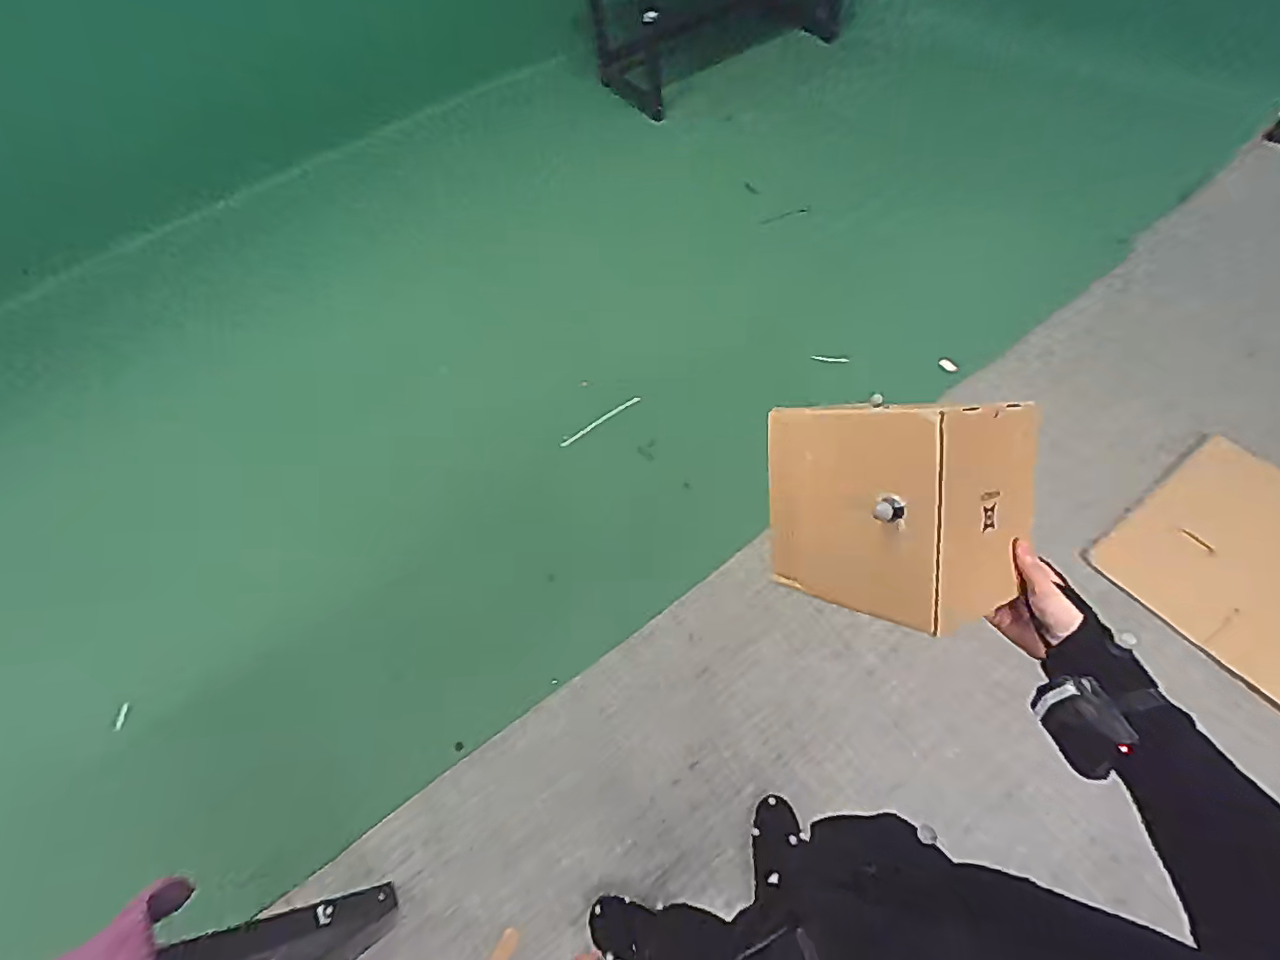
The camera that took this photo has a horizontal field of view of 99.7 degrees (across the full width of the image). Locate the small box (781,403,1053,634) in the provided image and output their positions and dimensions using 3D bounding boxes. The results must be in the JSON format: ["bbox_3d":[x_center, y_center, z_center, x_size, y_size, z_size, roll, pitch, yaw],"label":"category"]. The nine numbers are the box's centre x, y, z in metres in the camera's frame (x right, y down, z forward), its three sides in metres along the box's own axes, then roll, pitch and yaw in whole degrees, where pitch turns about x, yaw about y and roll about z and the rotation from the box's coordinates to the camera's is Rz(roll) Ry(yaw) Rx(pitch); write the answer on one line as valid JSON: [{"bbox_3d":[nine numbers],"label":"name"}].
[{"bbox_3d":[0.248,0.018,0.506,0.168,0.179,0.176,-7,9,-34],"label":"small box"}]
